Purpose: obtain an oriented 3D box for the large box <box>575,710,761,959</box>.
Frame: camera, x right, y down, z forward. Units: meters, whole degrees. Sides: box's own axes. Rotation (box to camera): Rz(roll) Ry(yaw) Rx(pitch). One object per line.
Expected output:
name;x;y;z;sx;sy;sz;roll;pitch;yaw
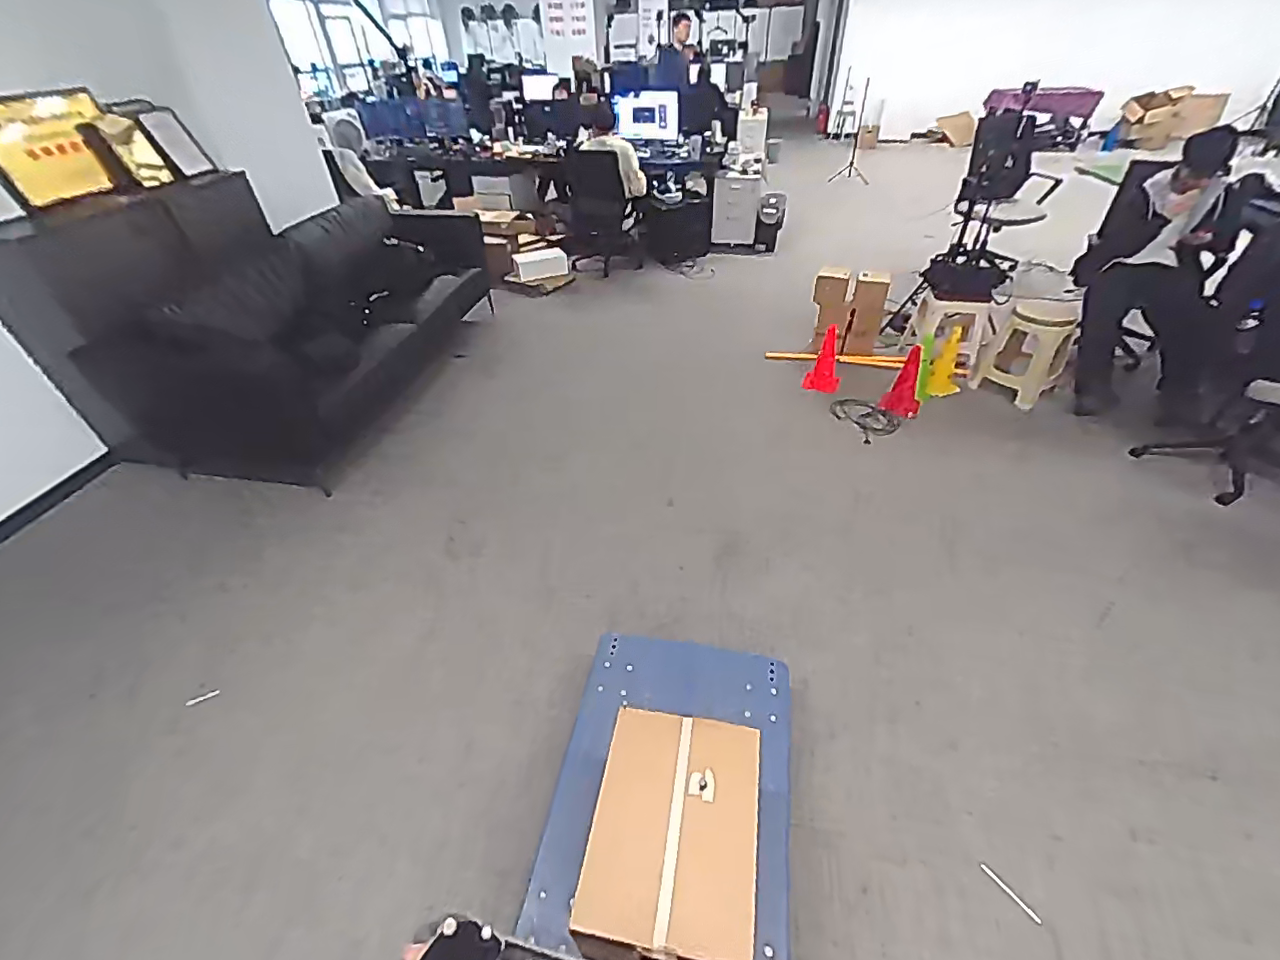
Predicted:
large box;0.080;0.764;1.123;0.320;0.320;0.408;6;40;10
